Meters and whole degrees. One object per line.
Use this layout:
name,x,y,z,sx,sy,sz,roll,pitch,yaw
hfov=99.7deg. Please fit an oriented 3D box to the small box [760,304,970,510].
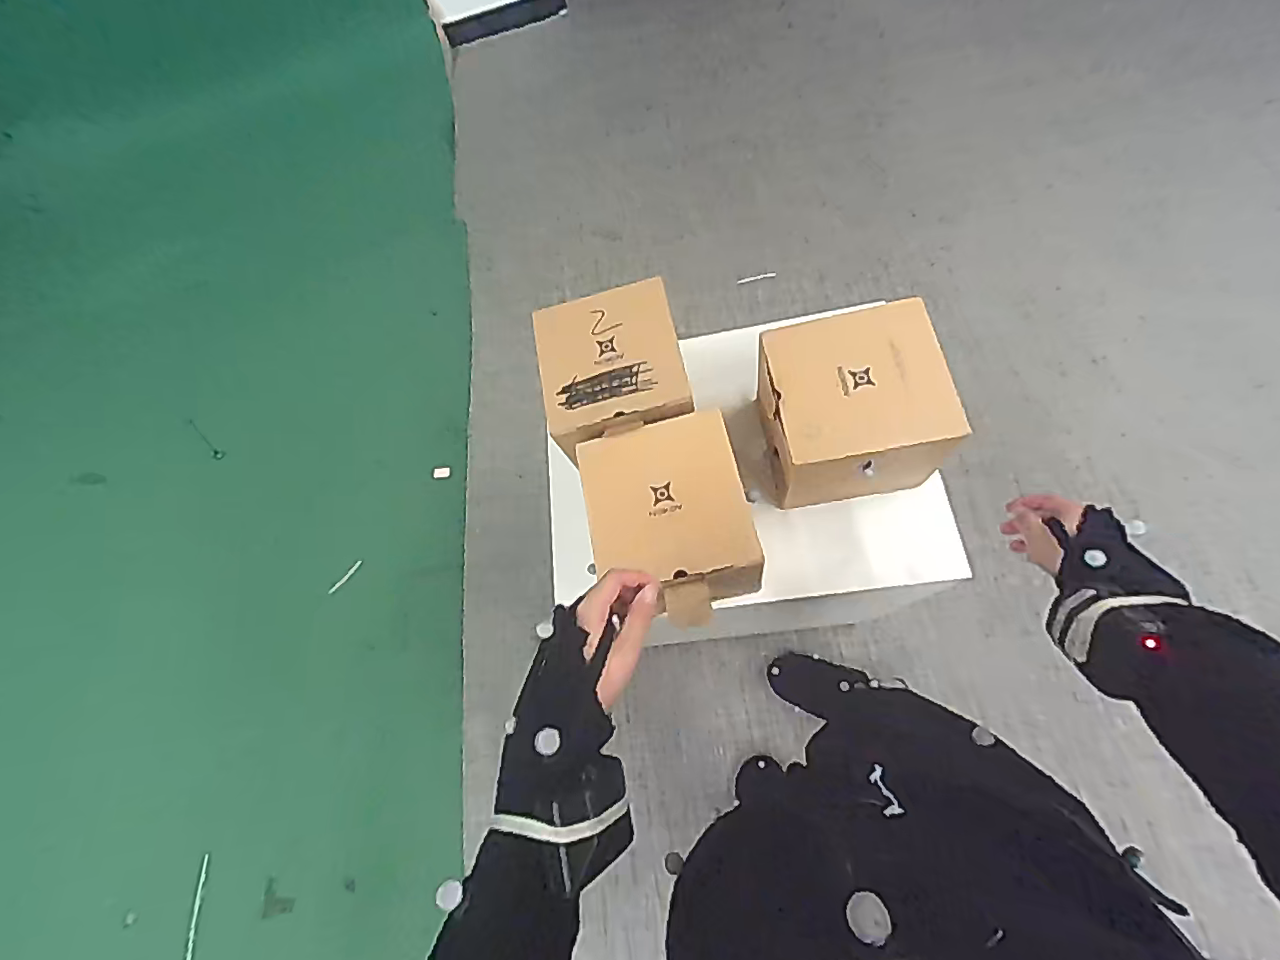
small box,0.243,-0.072,0.636,0.179,0.176,0.168,-10,70,8
